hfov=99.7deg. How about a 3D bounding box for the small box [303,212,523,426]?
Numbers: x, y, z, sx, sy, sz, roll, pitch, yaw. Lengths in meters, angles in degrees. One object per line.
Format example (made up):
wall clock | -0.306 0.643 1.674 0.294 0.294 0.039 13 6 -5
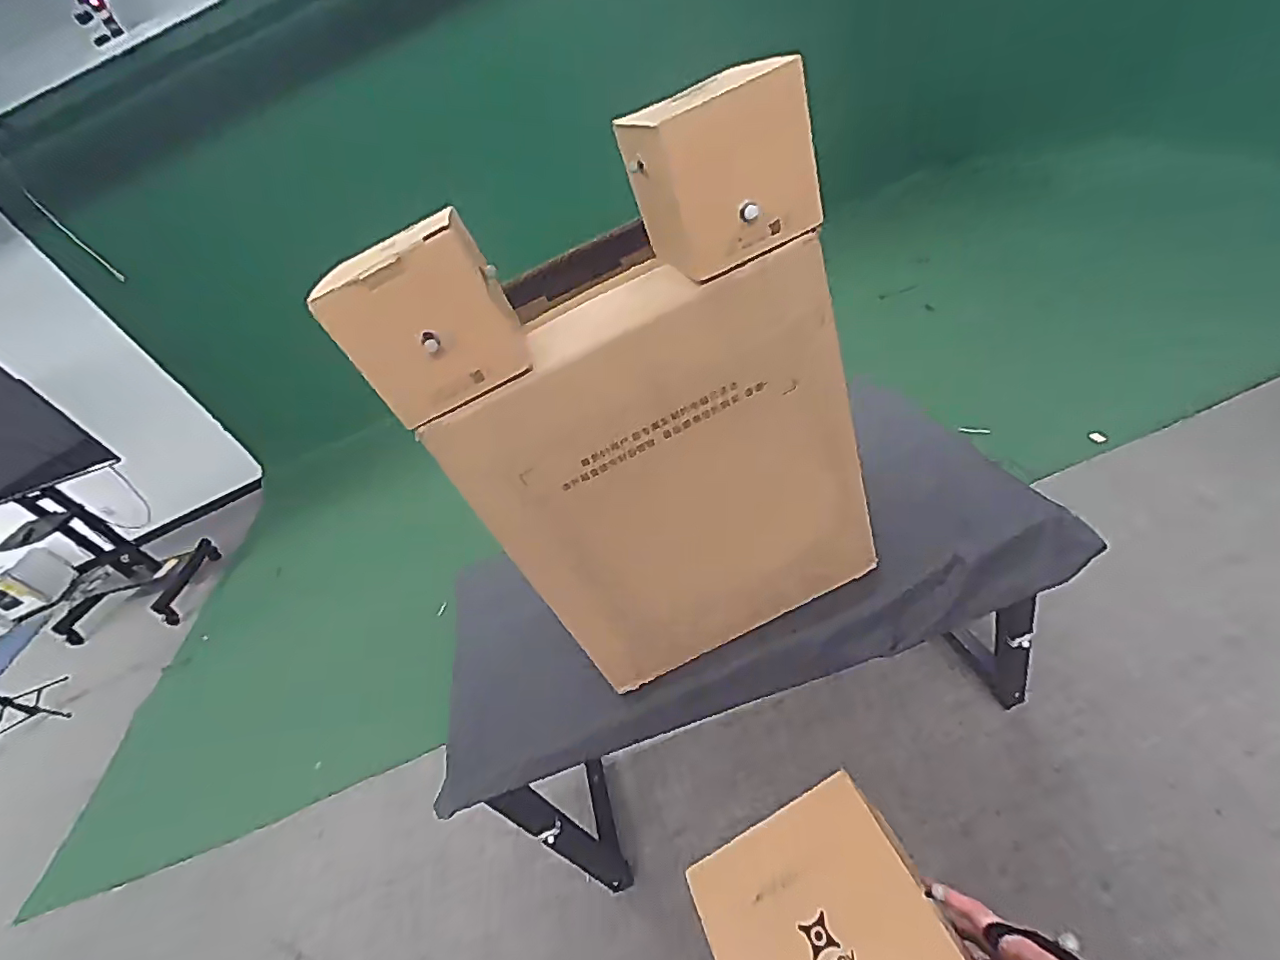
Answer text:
small box | -0.254 -0.188 0.648 0.168 0.176 0.179 -28 37 1

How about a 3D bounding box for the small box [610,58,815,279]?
small box | 0.084 -0.362 0.642 0.168 0.176 0.179 -26 37 0

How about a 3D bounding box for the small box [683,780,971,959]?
small box | 0.167 0.390 0.442 0.168 0.176 0.179 -35 39 3
